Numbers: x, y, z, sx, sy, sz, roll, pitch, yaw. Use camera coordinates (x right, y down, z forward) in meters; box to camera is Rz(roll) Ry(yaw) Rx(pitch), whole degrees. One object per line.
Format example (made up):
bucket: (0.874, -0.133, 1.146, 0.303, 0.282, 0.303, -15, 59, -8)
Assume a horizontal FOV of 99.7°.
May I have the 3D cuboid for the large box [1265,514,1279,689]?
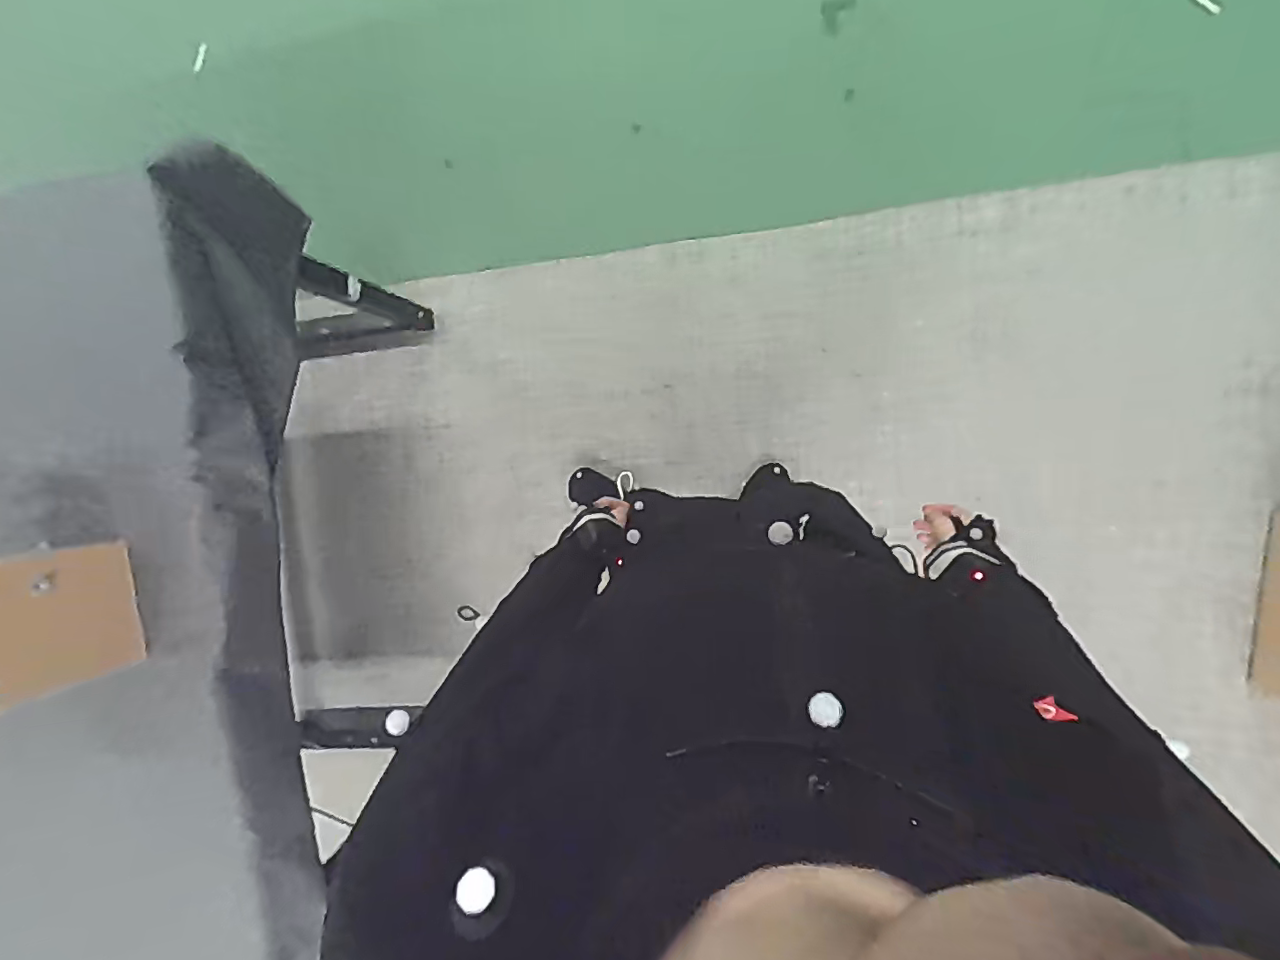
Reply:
large box: (1.496, 0.263, 1.005, 0.320, 0.320, 0.408, 1, 95, 10)
